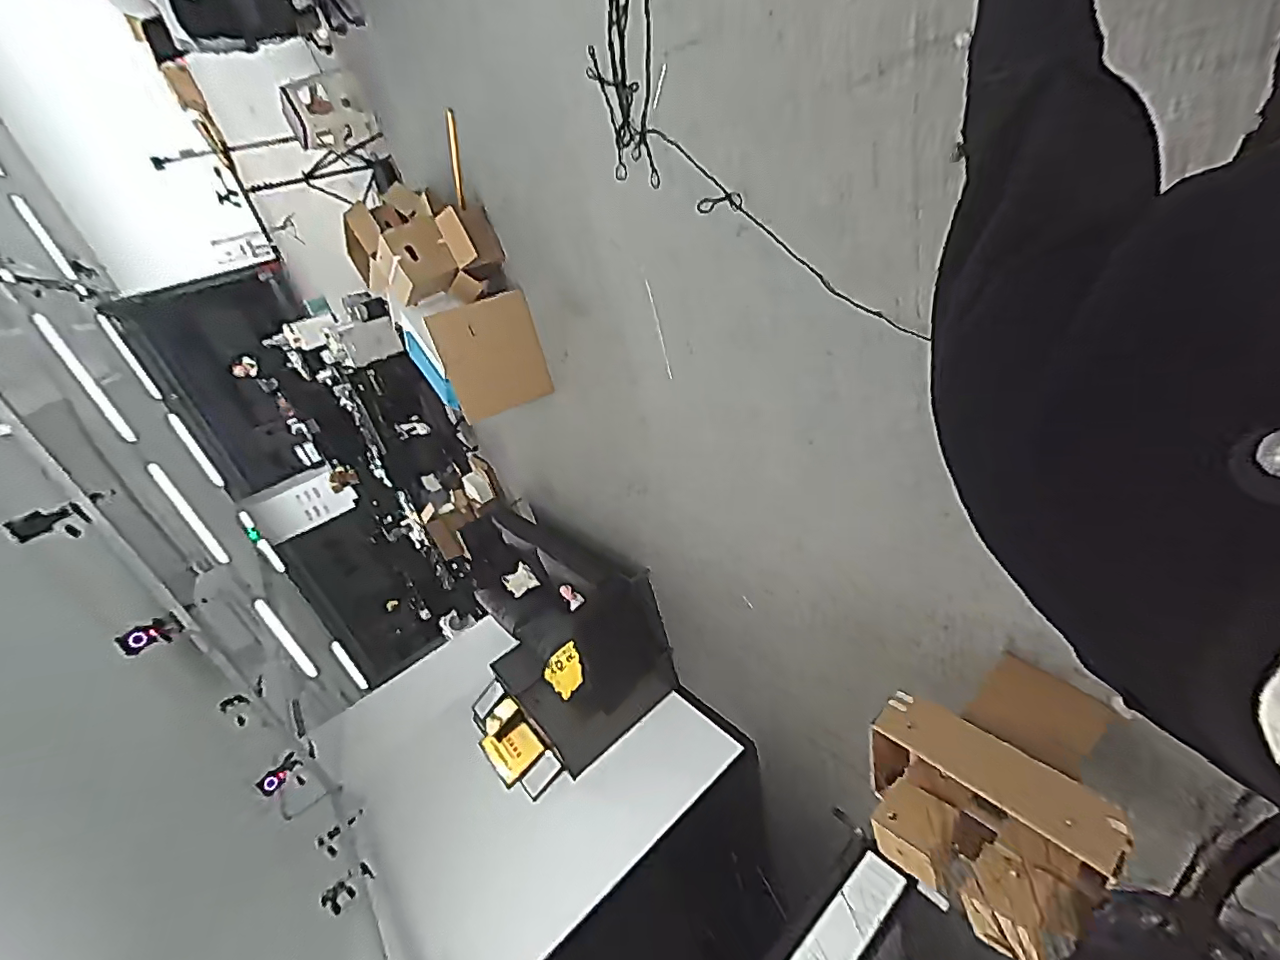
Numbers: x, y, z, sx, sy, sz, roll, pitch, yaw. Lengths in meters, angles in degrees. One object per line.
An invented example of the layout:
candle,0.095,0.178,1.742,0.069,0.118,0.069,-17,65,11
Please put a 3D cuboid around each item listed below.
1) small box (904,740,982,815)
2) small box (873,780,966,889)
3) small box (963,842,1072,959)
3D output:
small box,0.928,0.952,1.677,0.168,0.176,0.179,30,141,40
small box,0.813,1.017,1.571,0.179,0.176,0.168,11,129,52
small box,0.977,1.097,1.394,0.168,0.176,0.179,-2,116,57
